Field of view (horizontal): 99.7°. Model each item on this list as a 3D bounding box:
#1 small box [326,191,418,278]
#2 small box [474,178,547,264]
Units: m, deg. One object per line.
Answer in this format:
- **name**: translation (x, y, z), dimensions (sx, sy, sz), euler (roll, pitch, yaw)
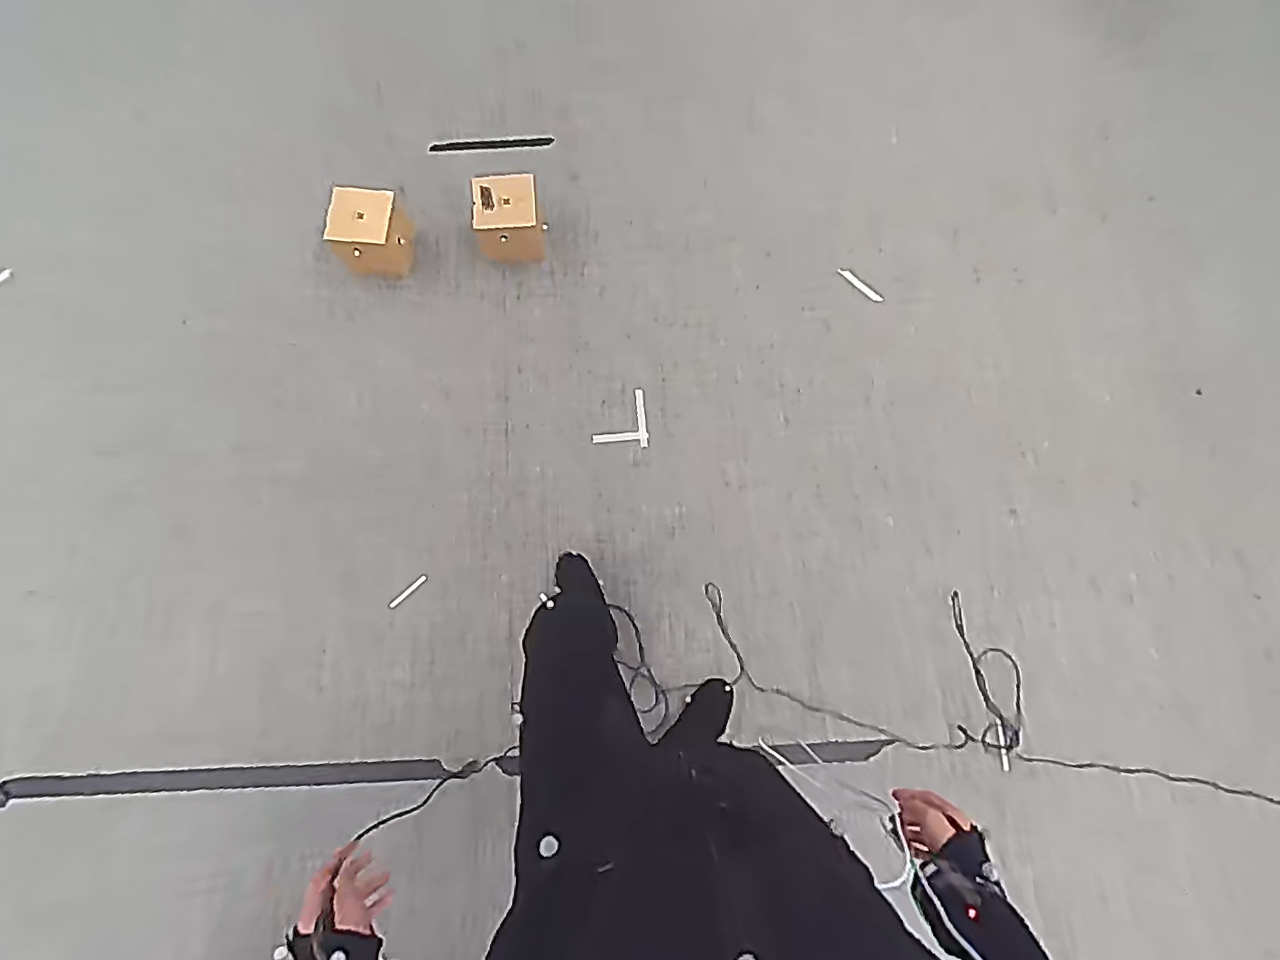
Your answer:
- **small box**: translation (-0.770, -0.708, 1.575), dimensions (0.179, 0.176, 0.168), euler (4, 80, 1)
- **small box**: translation (-0.376, -0.752, 1.585), dimensions (0.179, 0.176, 0.168), euler (-4, 80, -2)
